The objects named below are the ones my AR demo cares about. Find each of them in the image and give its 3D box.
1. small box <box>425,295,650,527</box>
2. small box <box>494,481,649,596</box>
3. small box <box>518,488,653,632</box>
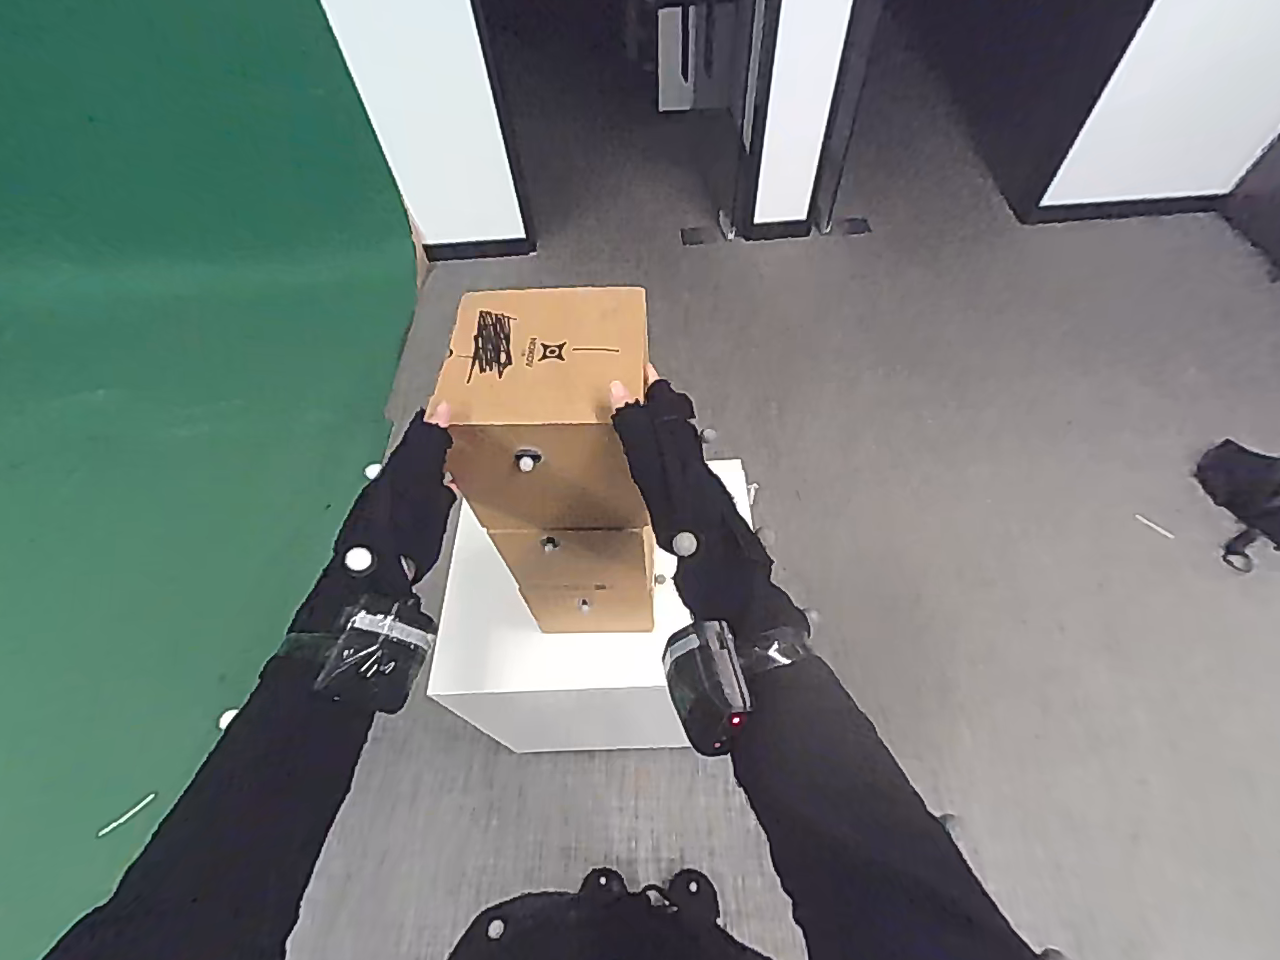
[{"bbox_3d":[-0.082,-0.062,0.541,0.179,0.176,0.168,0,56,2],"label":"small box"},{"bbox_3d":[-0.073,0.031,0.680,0.168,0.176,0.179,-2,56,1],"label":"small box"},{"bbox_3d":[-0.070,0.123,0.813,0.179,0.176,0.168,-1,56,1],"label":"small box"}]
